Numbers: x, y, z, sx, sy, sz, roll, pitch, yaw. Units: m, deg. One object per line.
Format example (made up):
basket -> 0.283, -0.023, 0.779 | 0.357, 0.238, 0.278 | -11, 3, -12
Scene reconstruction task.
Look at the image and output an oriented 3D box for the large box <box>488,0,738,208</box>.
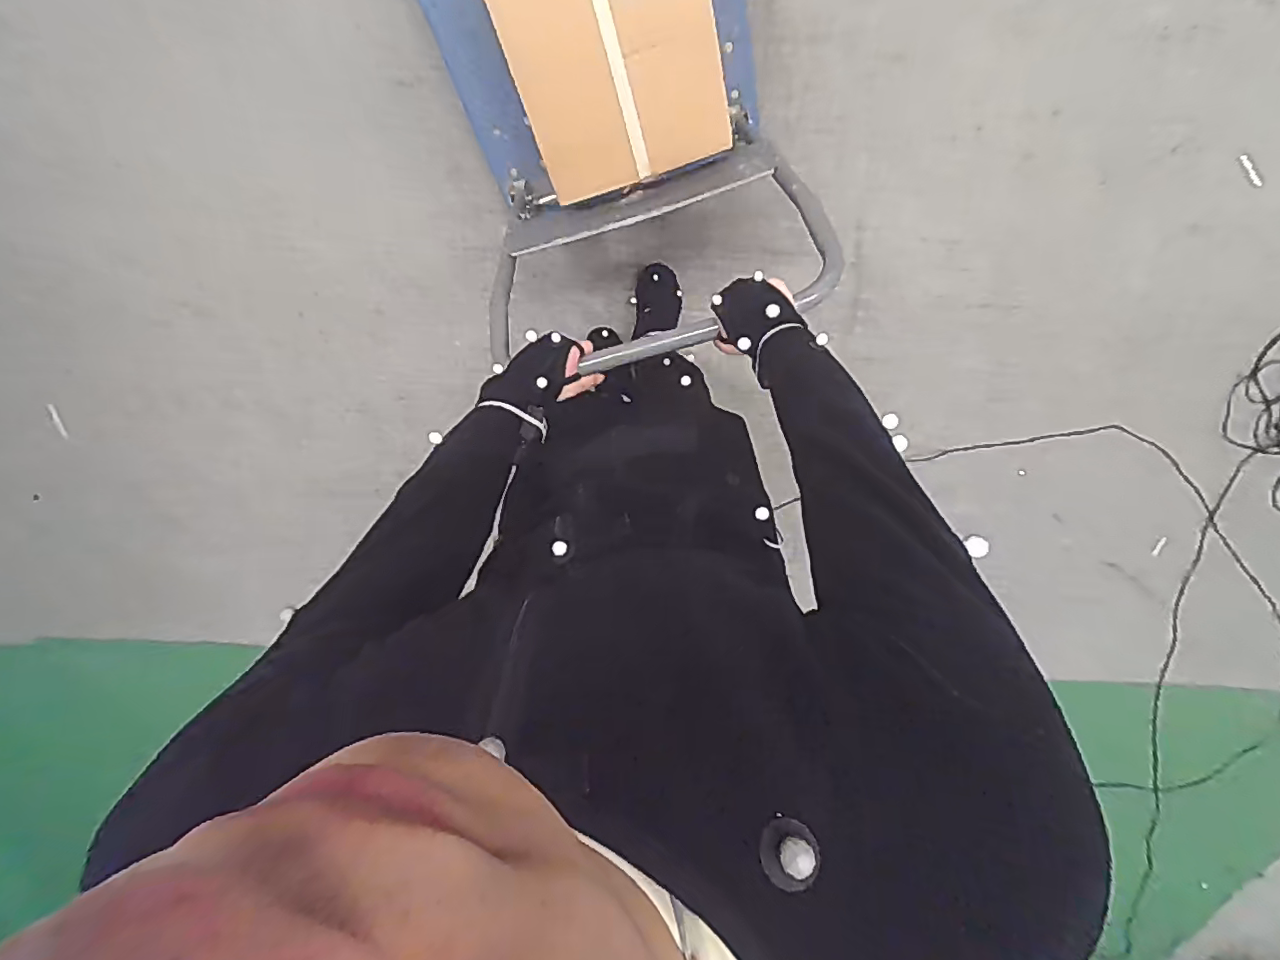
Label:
large box -> -0.046, -0.747, 0.903 | 0.320, 0.320, 0.408 | -15, 131, 8
